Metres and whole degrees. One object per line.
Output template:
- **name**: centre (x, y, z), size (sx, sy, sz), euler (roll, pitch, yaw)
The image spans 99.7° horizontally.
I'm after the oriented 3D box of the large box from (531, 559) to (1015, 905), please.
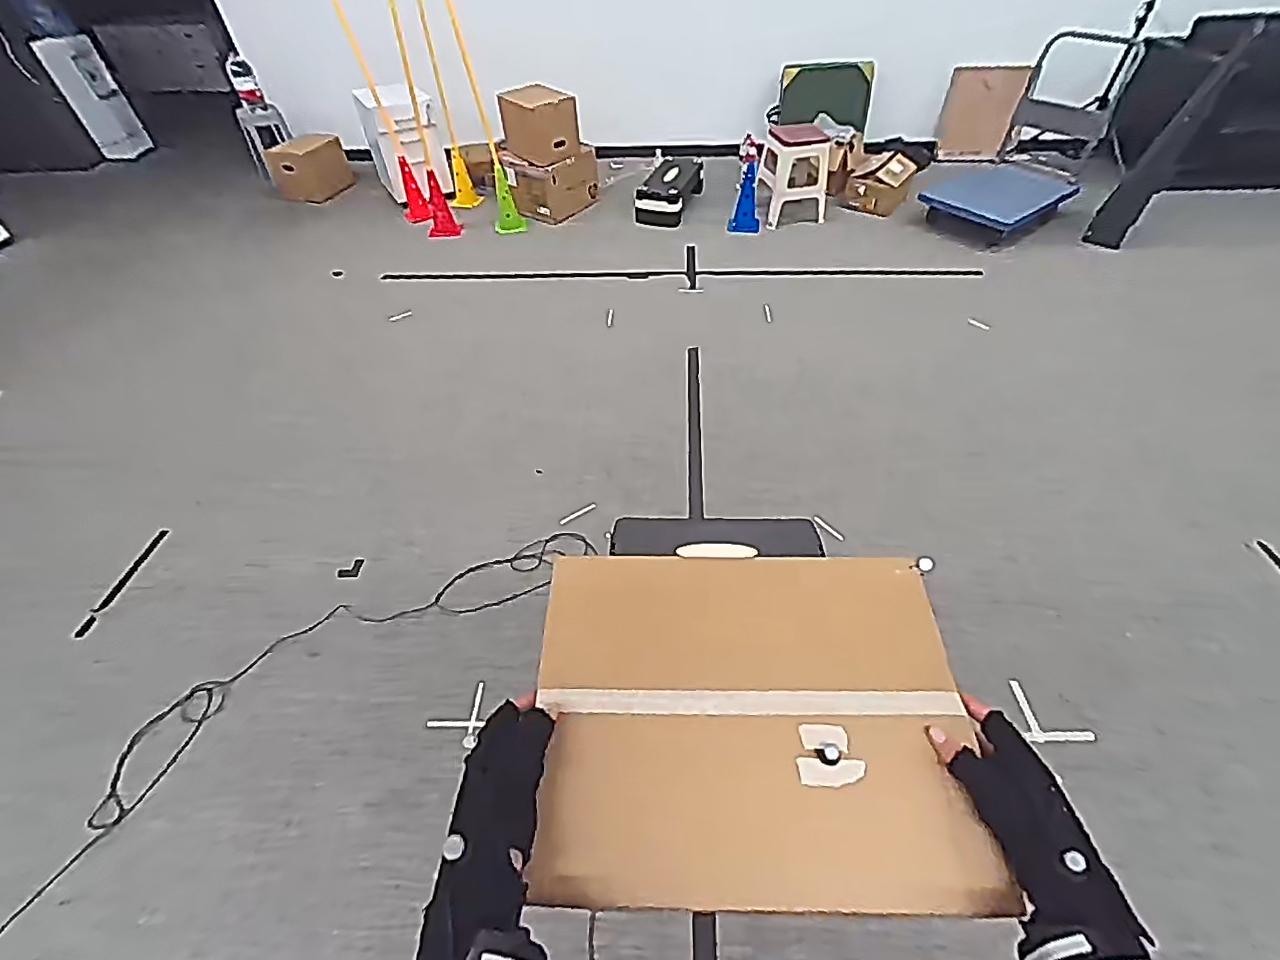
- **large box**: centre (0.108, 0.303, 0.644), size (0.408, 0.320, 0.320), euler (0, 54, 1)
